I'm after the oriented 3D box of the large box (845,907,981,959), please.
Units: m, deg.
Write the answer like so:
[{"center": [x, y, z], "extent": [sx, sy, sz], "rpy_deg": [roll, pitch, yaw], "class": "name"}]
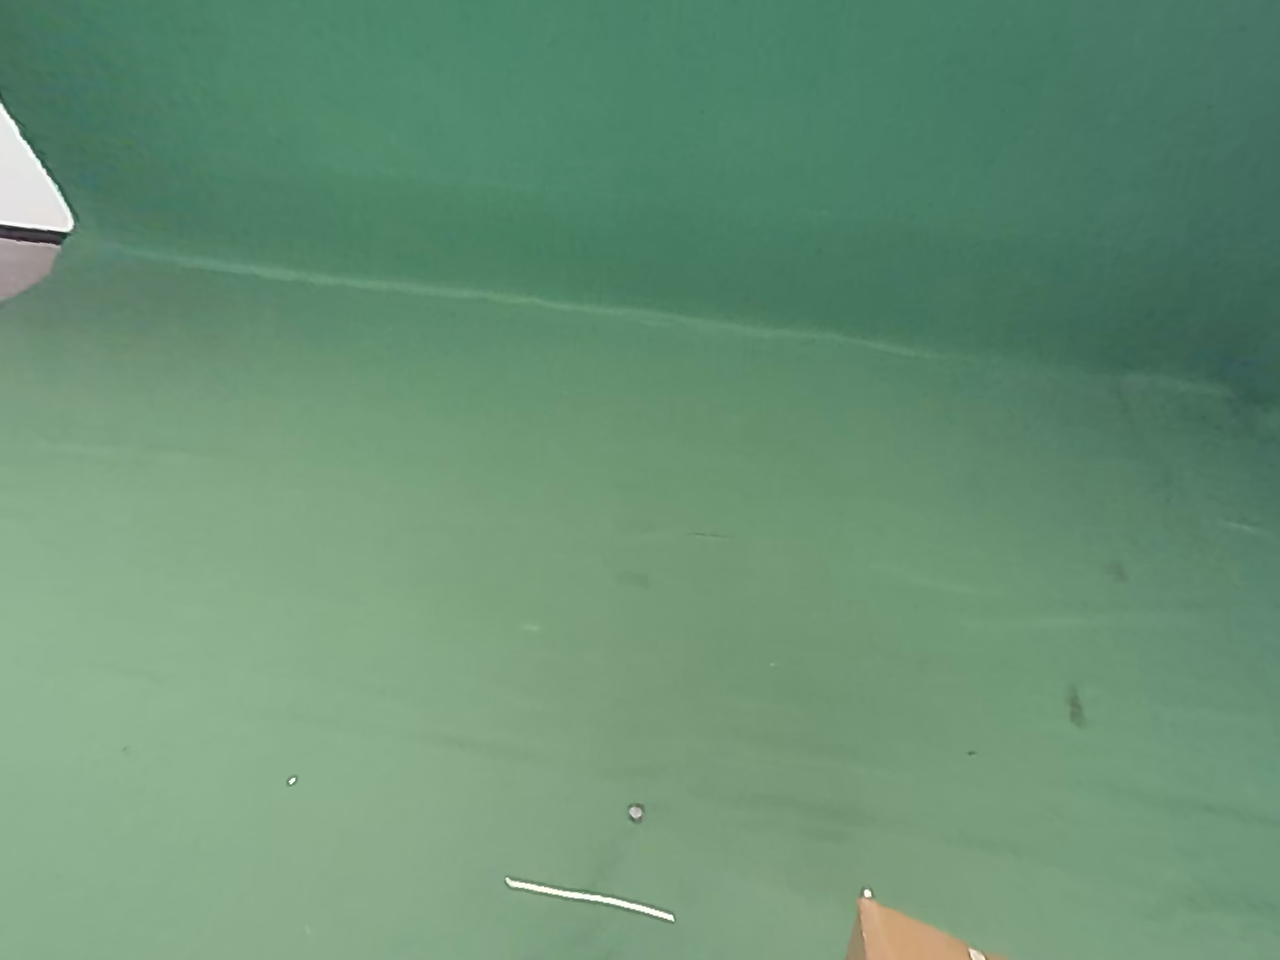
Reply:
[{"center": [0.372, 0.800, 0.575], "extent": [0.320, 0.408, 0.320], "rpy_deg": [17, 87, 18], "class": "large box"}]
